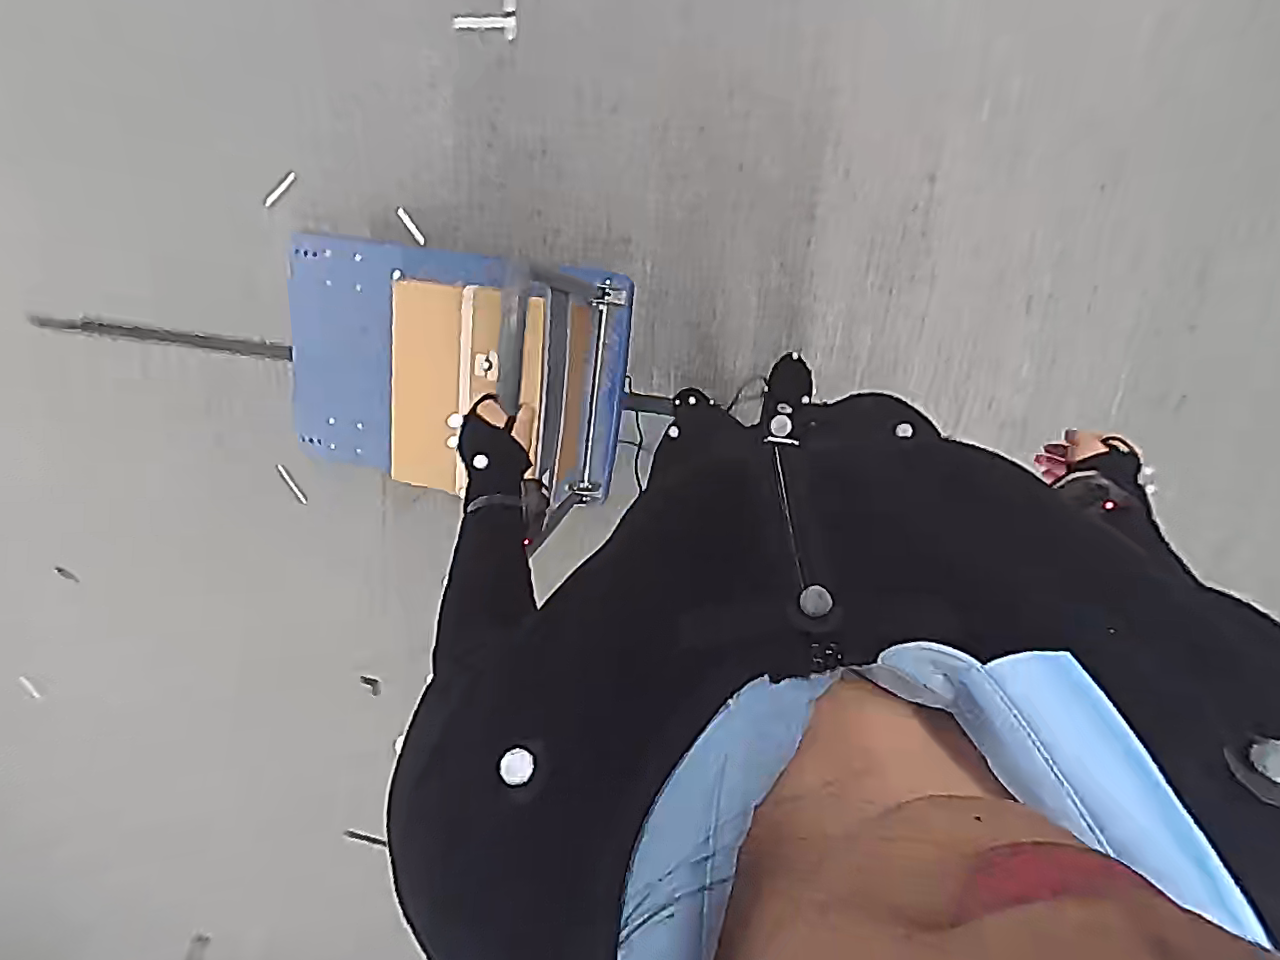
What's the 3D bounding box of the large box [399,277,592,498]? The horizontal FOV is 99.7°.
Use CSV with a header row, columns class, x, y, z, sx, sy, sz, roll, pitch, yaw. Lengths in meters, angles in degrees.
class,x,y,z,sx,sy,sz,roll,pitch,yaw
large box,-0.308,-0.209,1.210,0.320,0.320,0.408,10,105,6
